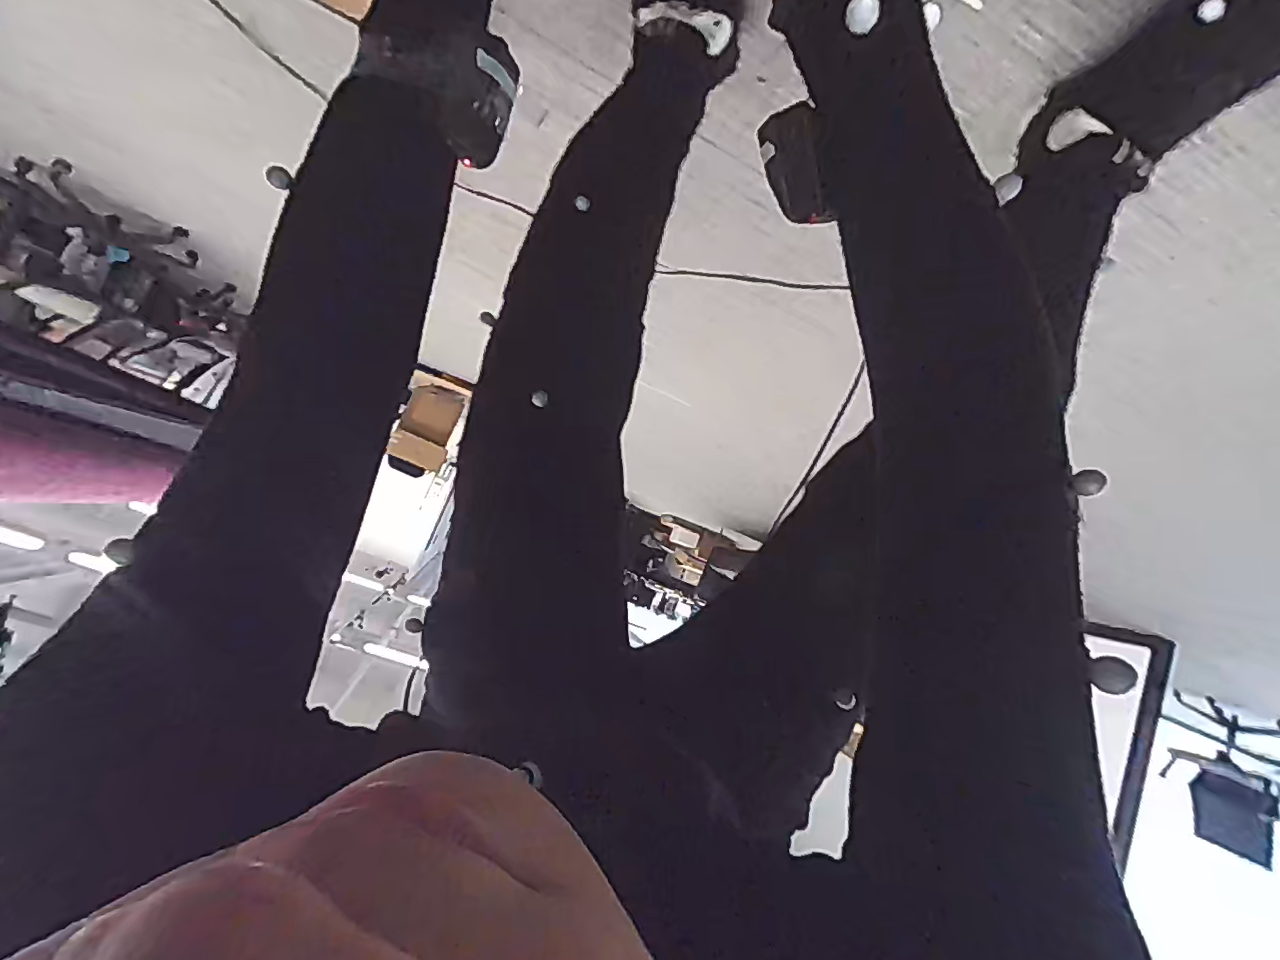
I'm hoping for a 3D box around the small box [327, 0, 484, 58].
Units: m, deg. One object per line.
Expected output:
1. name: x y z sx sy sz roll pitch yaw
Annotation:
1. small box: -0.249 -0.603 0.552 0.179 0.176 0.168 22 171 -5
